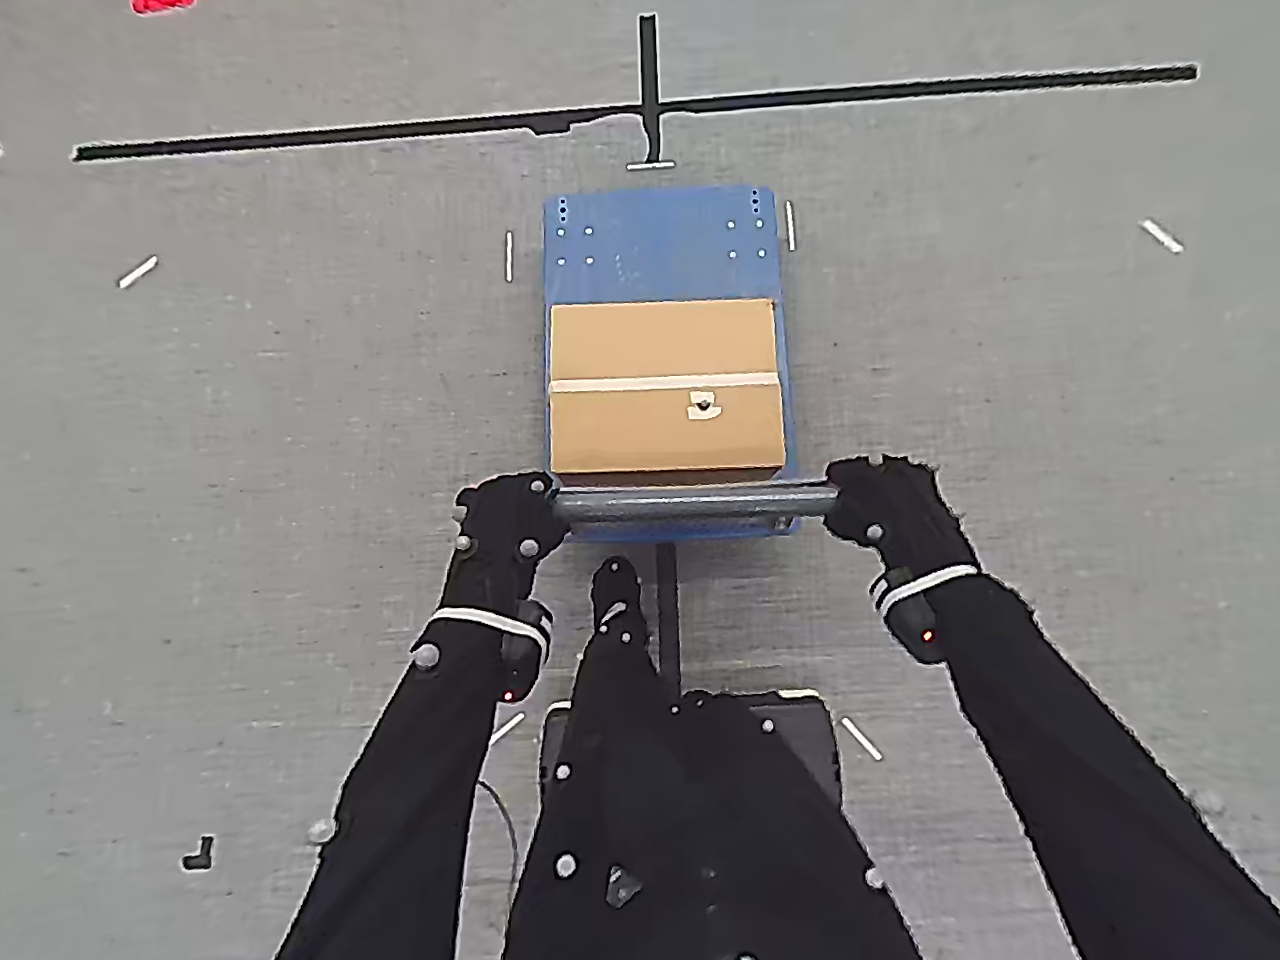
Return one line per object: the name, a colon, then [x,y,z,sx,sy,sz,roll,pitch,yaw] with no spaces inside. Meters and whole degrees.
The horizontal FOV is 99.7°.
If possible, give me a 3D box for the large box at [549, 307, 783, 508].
large box: [0.040,-0.125,1.091,0.408,0.320,0.320,-2,80,0]
